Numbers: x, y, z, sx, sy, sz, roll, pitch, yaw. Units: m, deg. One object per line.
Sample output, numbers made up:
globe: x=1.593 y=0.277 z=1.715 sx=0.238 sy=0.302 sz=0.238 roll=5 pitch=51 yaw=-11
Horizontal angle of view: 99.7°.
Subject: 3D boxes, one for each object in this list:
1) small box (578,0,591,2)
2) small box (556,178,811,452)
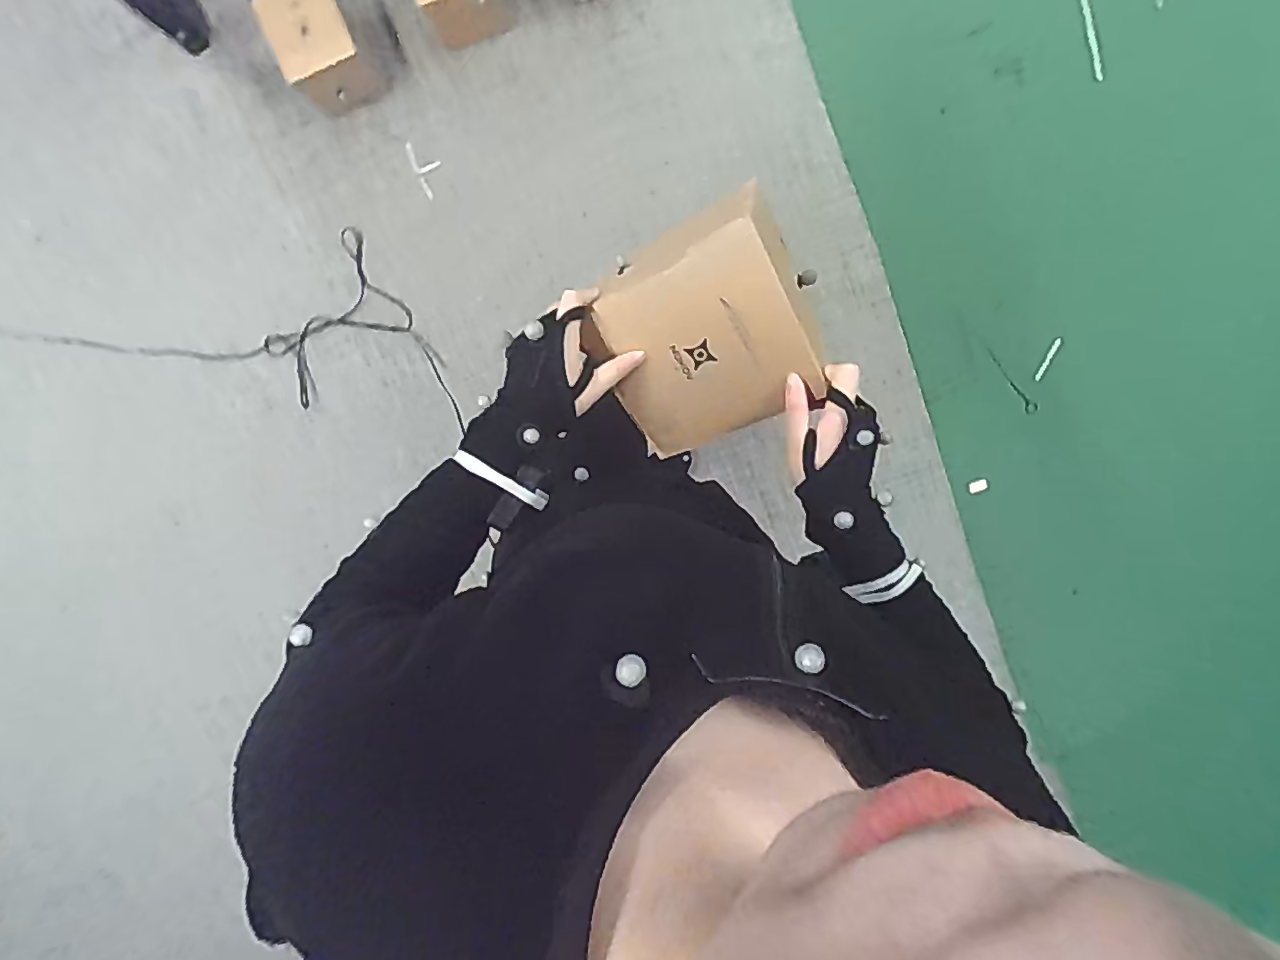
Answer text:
small box: x=-0.104 y=-1.226 z=1.208 sx=0.168 sy=0.176 sz=0.179 roll=-15 pitch=94 yaw=3
small box: x=0.054 y=-0.161 z=0.530 sx=0.179 sy=0.176 sz=0.168 roll=-21 pitch=120 yaw=28
